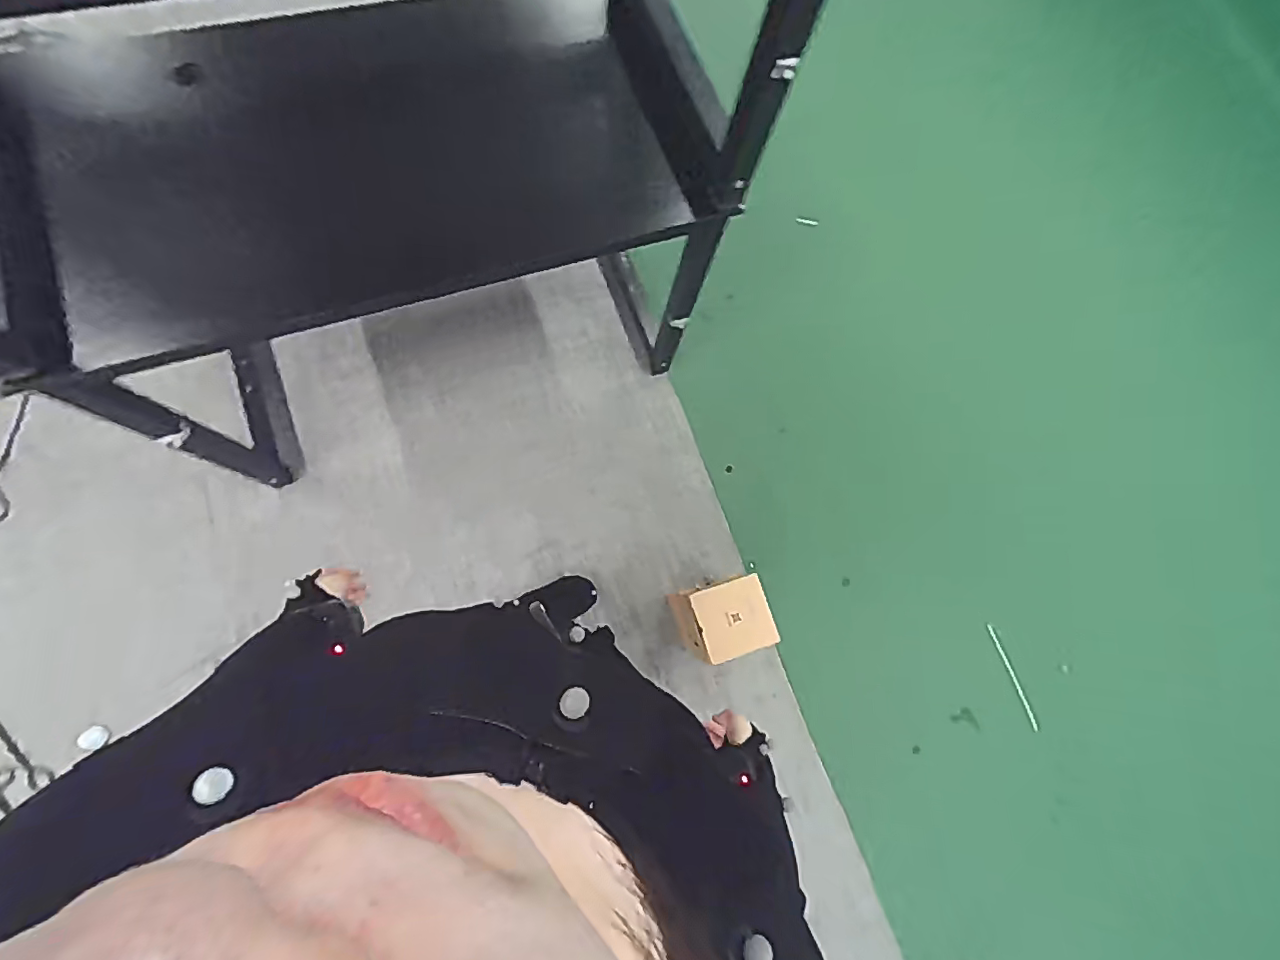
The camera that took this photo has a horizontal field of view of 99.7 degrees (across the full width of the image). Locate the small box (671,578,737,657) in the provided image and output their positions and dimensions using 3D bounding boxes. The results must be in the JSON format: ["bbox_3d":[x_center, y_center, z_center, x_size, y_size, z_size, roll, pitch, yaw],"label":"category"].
[{"bbox_3d":[0.192,0.373,1.453,0.168,0.176,0.179,-15,80,-10],"label":"small box"}]

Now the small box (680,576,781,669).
[{"bbox_3d":[0.204,0.338,1.296,0.179,0.176,0.168,-16,81,-11],"label":"small box"}]
